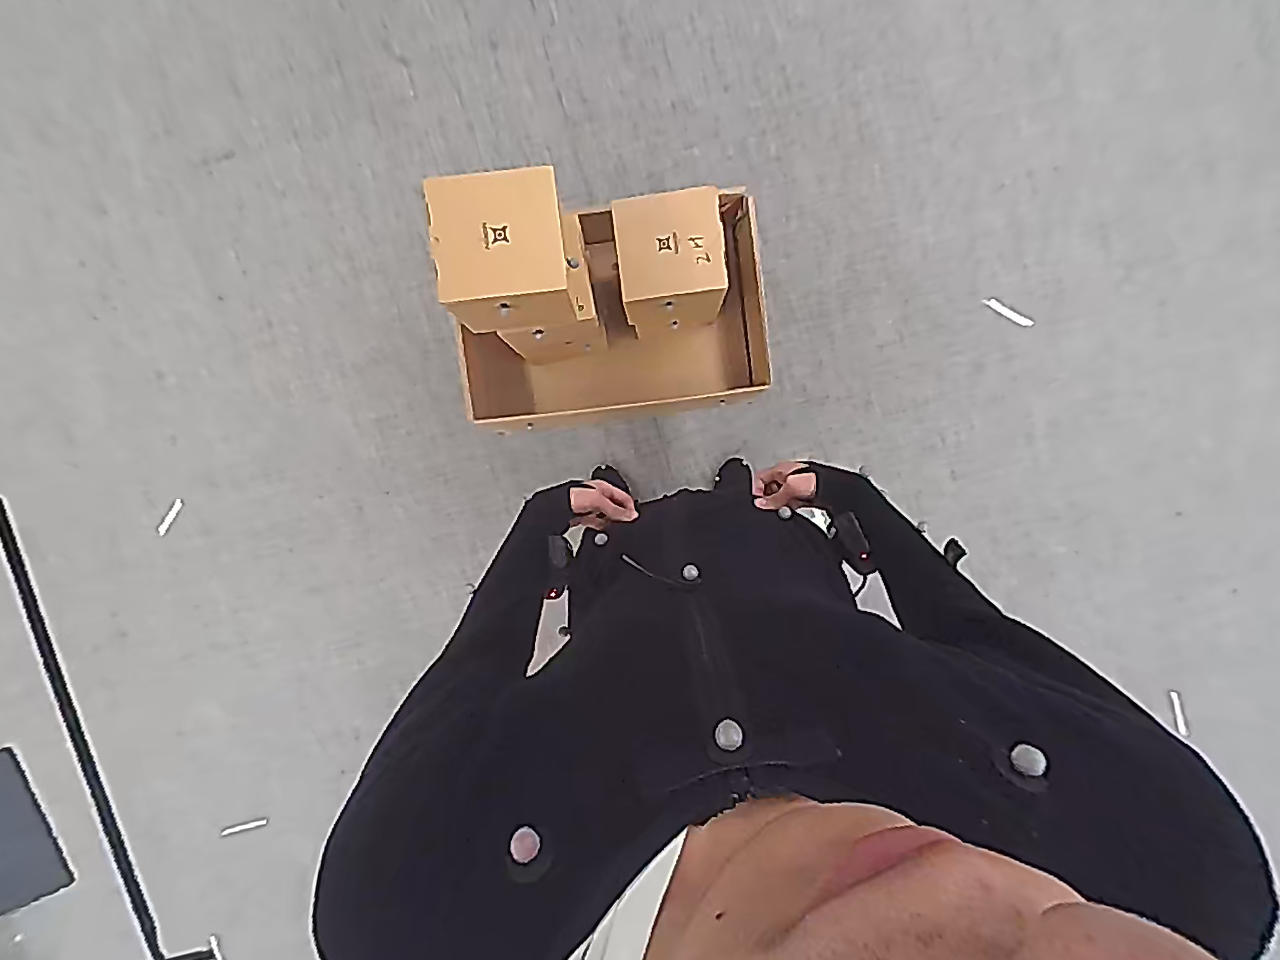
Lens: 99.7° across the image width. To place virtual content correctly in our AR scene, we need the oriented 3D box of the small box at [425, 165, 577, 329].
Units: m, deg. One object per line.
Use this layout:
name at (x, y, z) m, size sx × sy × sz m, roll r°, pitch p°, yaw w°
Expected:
small box at (-0.190, -0.329, 0.794) m, size 0.179 × 0.176 × 0.168 m, roll -7°, pitch 92°, yaw 0°
